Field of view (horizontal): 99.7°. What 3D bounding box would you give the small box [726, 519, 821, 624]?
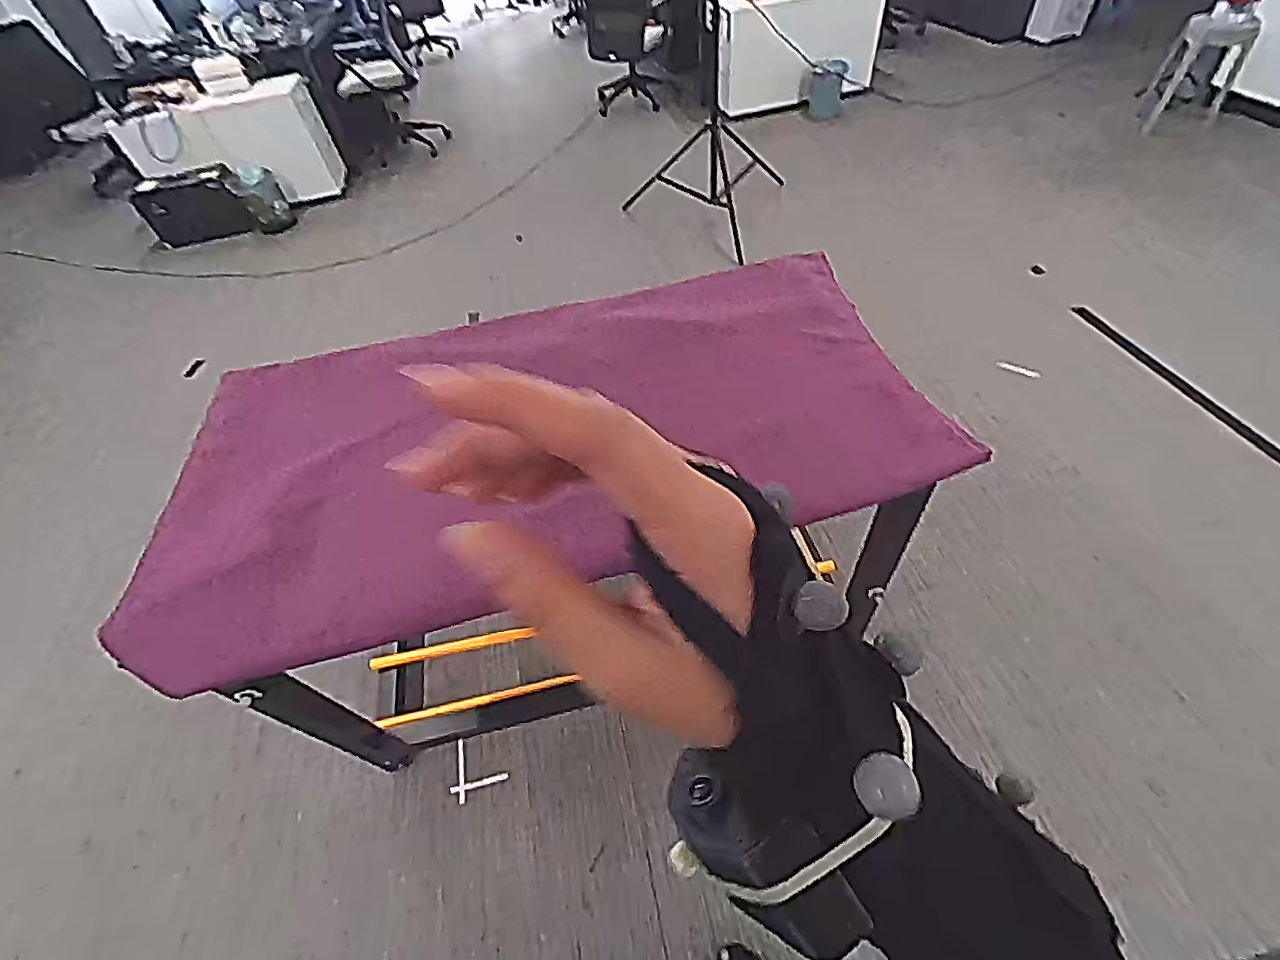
[{"bbox_3d":[0.310,0.223,1.281,0.168,0.176,0.179,-14,50,-2],"label":"small box"}]
